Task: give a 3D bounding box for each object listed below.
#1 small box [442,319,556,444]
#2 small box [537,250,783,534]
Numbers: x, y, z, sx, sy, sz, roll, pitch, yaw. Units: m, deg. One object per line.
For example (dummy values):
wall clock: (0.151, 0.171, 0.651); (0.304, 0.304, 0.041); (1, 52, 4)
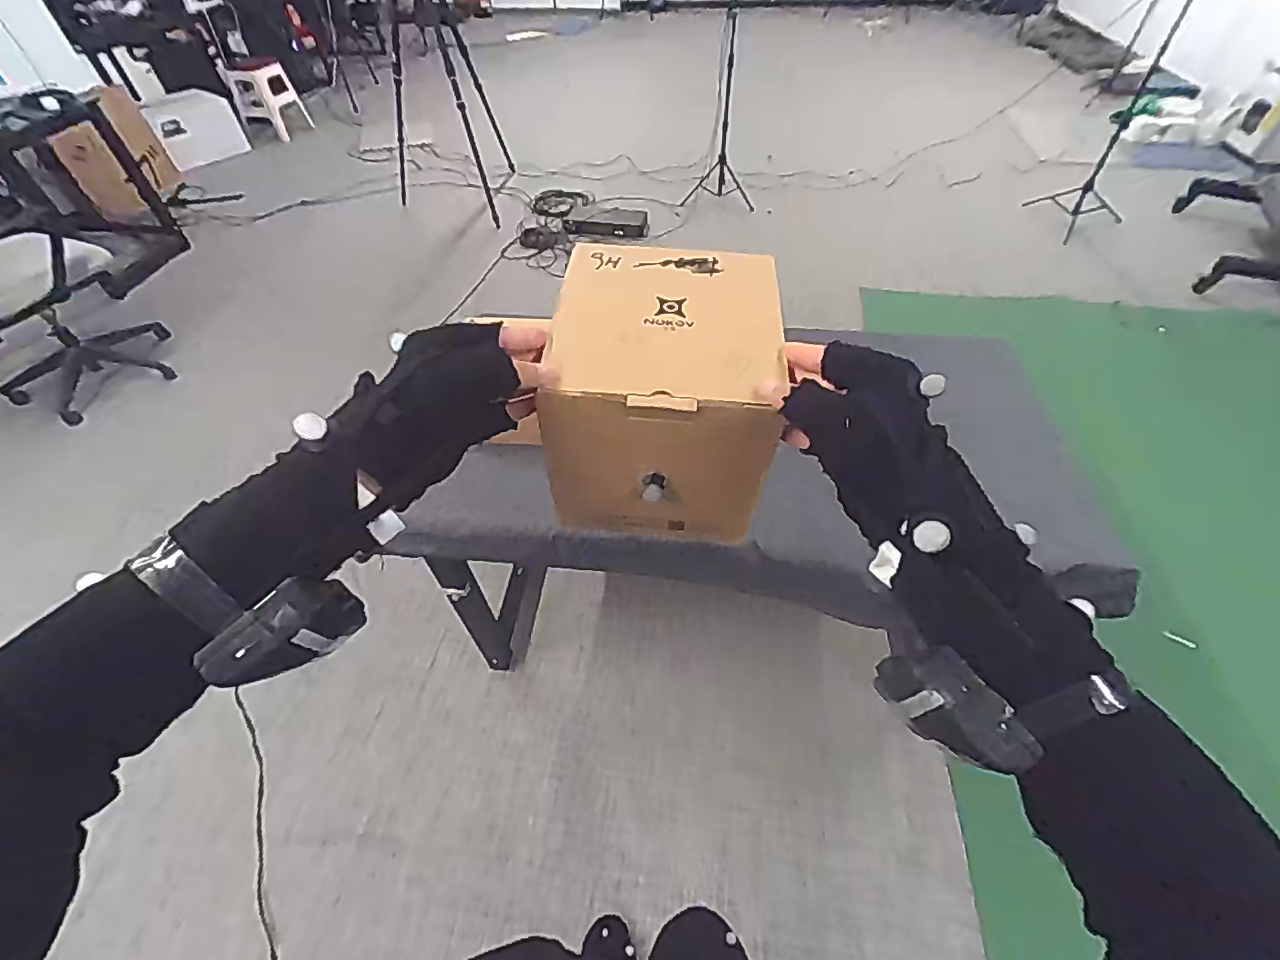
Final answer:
small box: (-0.242, -0.182, 1.015); (0.179, 0.176, 0.168); (3, 50, 3)
small box: (0.019, -0.070, 0.464); (0.168, 0.176, 0.179); (5, 54, 2)
